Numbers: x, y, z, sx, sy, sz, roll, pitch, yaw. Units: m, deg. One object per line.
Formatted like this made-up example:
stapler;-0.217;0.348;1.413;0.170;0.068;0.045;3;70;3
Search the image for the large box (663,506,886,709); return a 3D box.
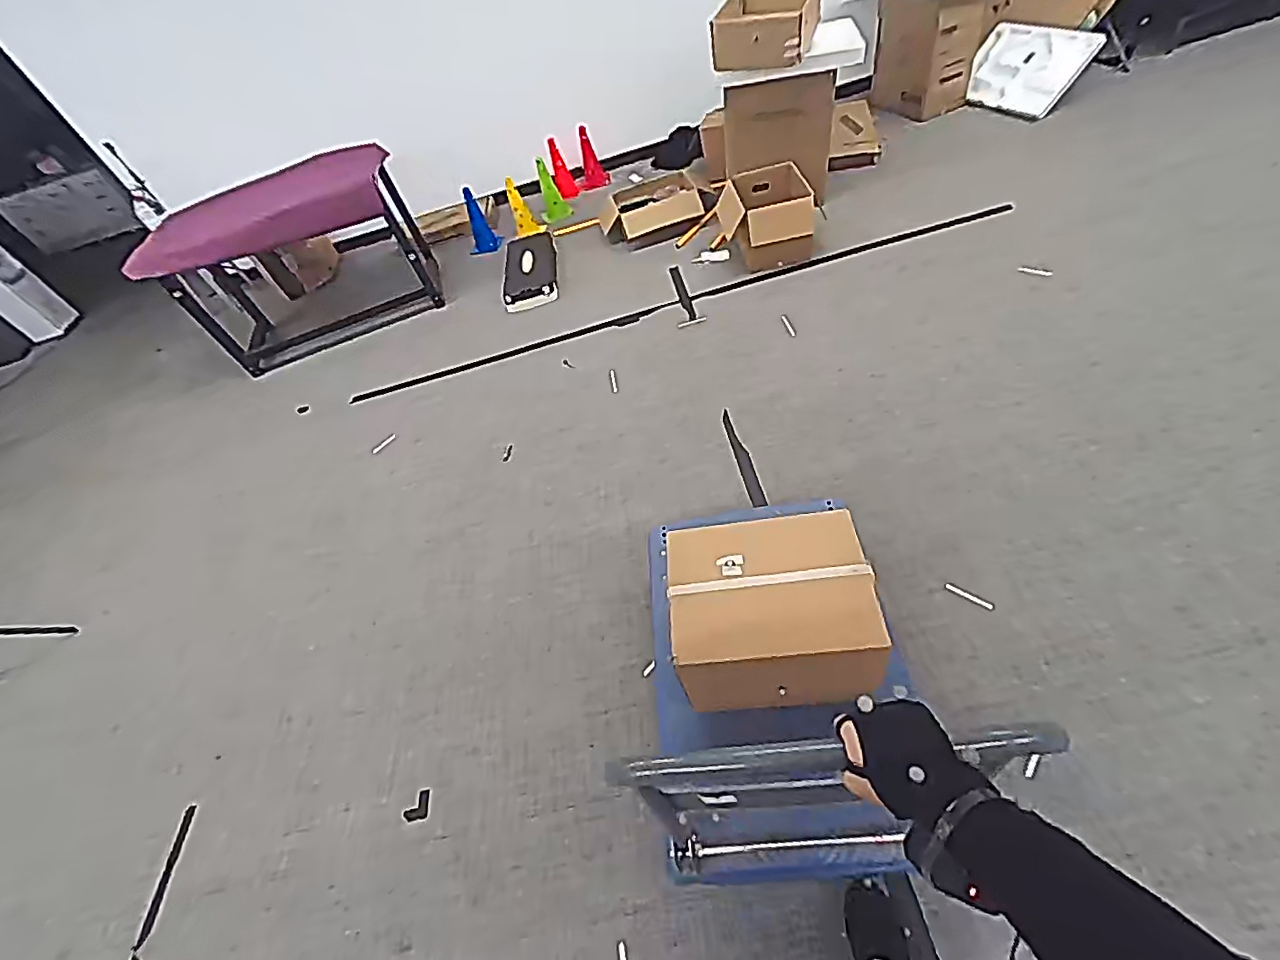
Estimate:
large box;0.284;0.296;1.210;0.408;0.320;0.320;-9;48;10
